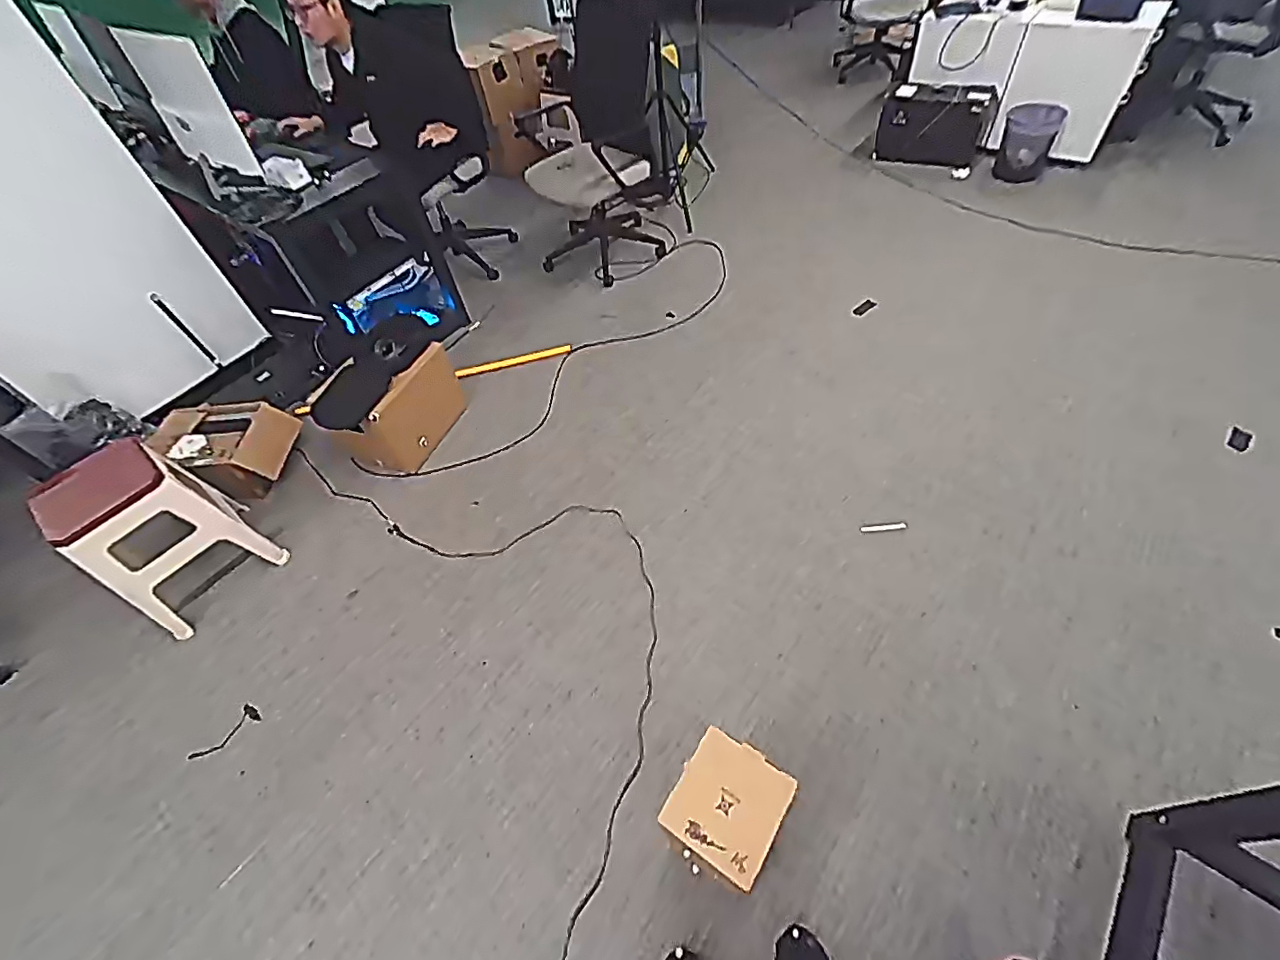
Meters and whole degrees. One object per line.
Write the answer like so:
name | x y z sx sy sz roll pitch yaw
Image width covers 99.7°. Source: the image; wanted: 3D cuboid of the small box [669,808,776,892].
small box | 0.179 0.759 1.185 0.168 0.176 0.179 26 60 25

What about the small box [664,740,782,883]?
small box | 0.163 0.654 1.063 0.168 0.176 0.179 23 57 22
